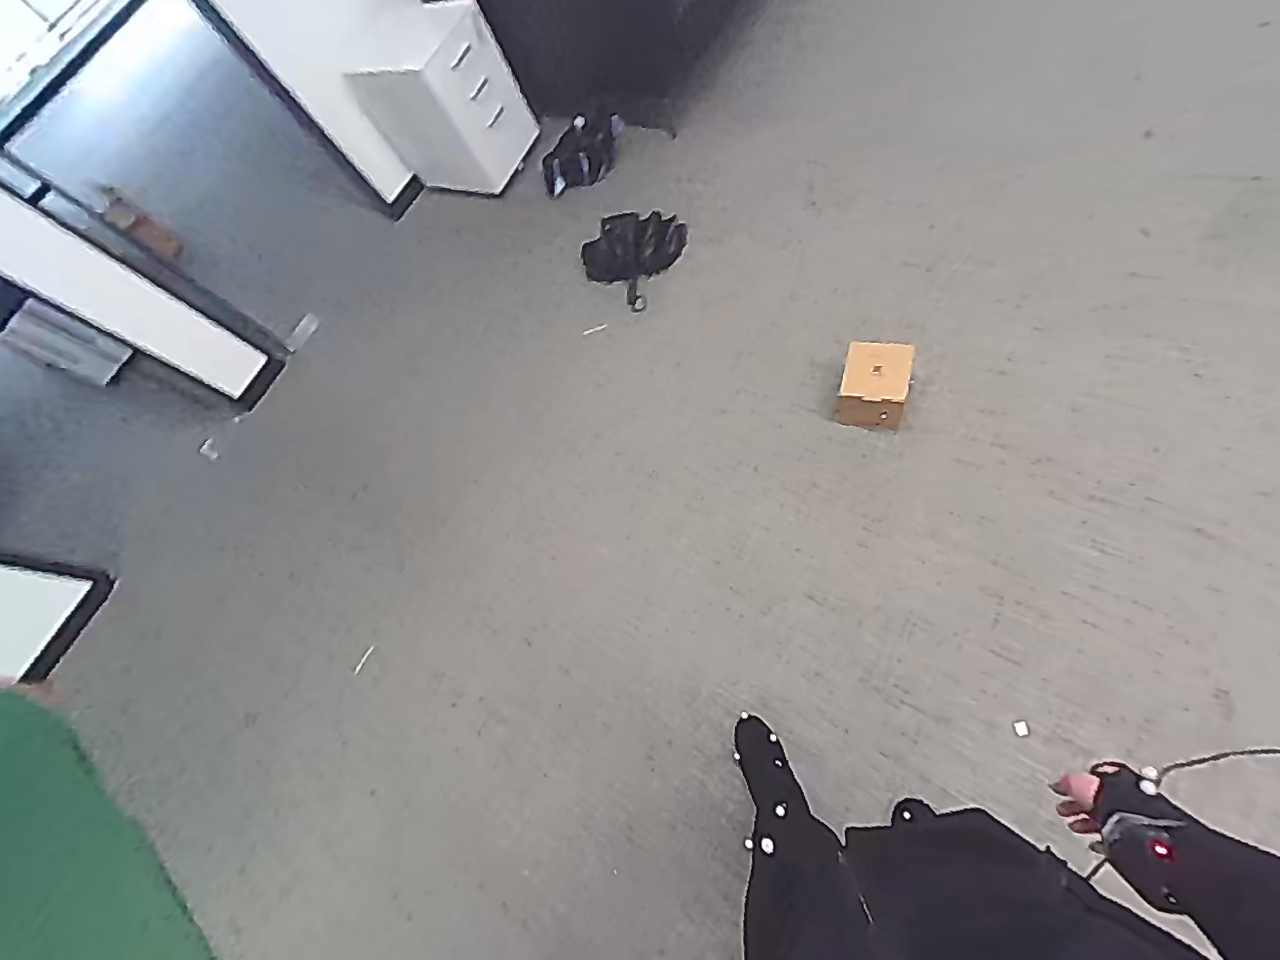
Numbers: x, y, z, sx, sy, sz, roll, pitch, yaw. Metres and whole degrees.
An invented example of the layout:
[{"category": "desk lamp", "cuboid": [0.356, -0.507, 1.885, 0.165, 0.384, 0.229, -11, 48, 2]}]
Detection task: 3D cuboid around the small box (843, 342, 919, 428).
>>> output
[{"category": "small box", "cuboid": [0.669, -0.262, 1.507, 0.168, 0.176, 0.179, 9, 70, 23]}]
